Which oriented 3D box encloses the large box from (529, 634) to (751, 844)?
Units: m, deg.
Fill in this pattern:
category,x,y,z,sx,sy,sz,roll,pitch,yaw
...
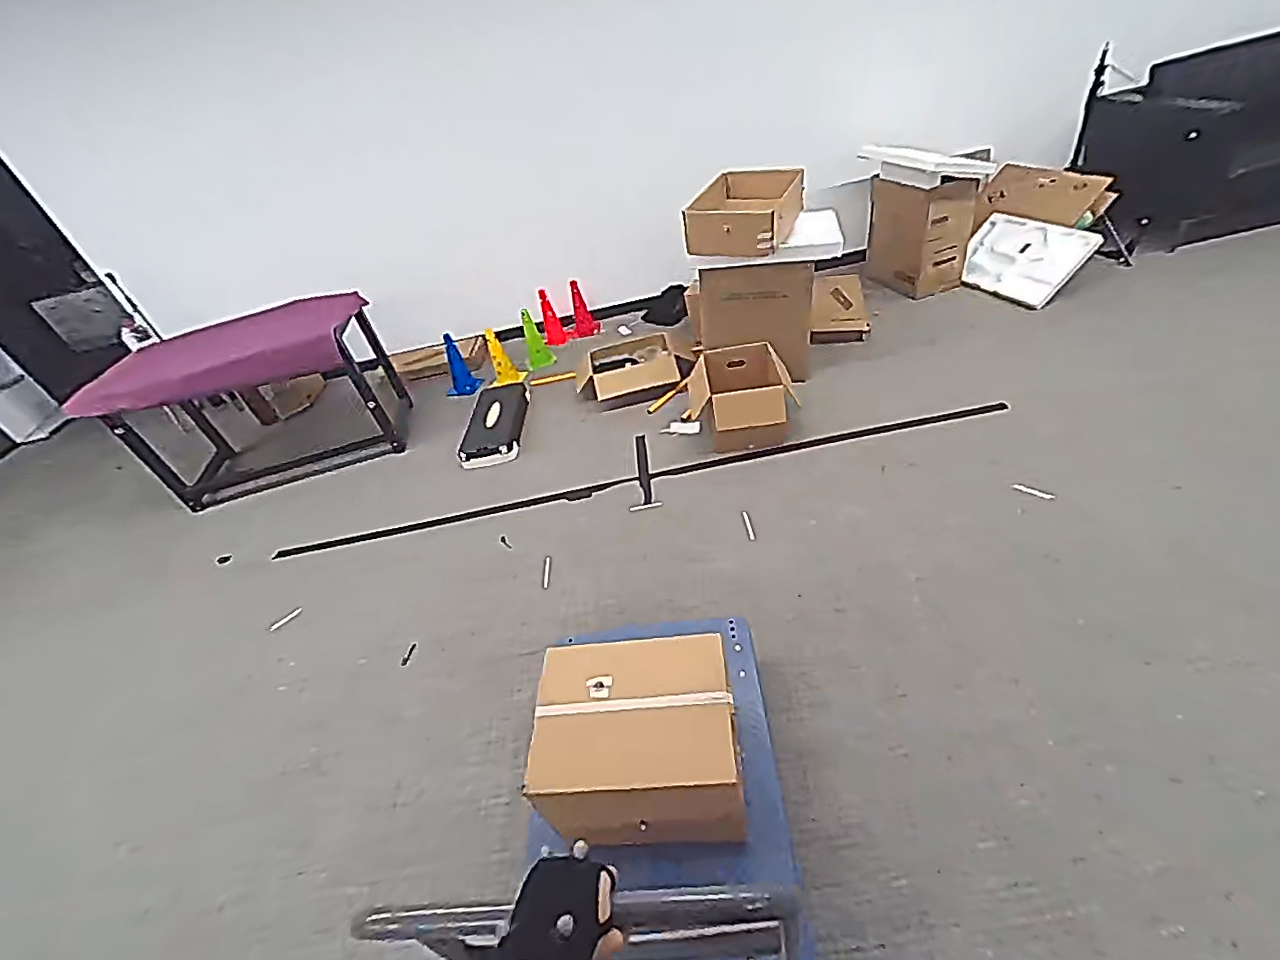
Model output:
category,x,y,z,sx,sy,sz,roll,pitch,yaw
large box,0.015,0.583,1.208,0.408,0.320,0.320,-9,38,9
